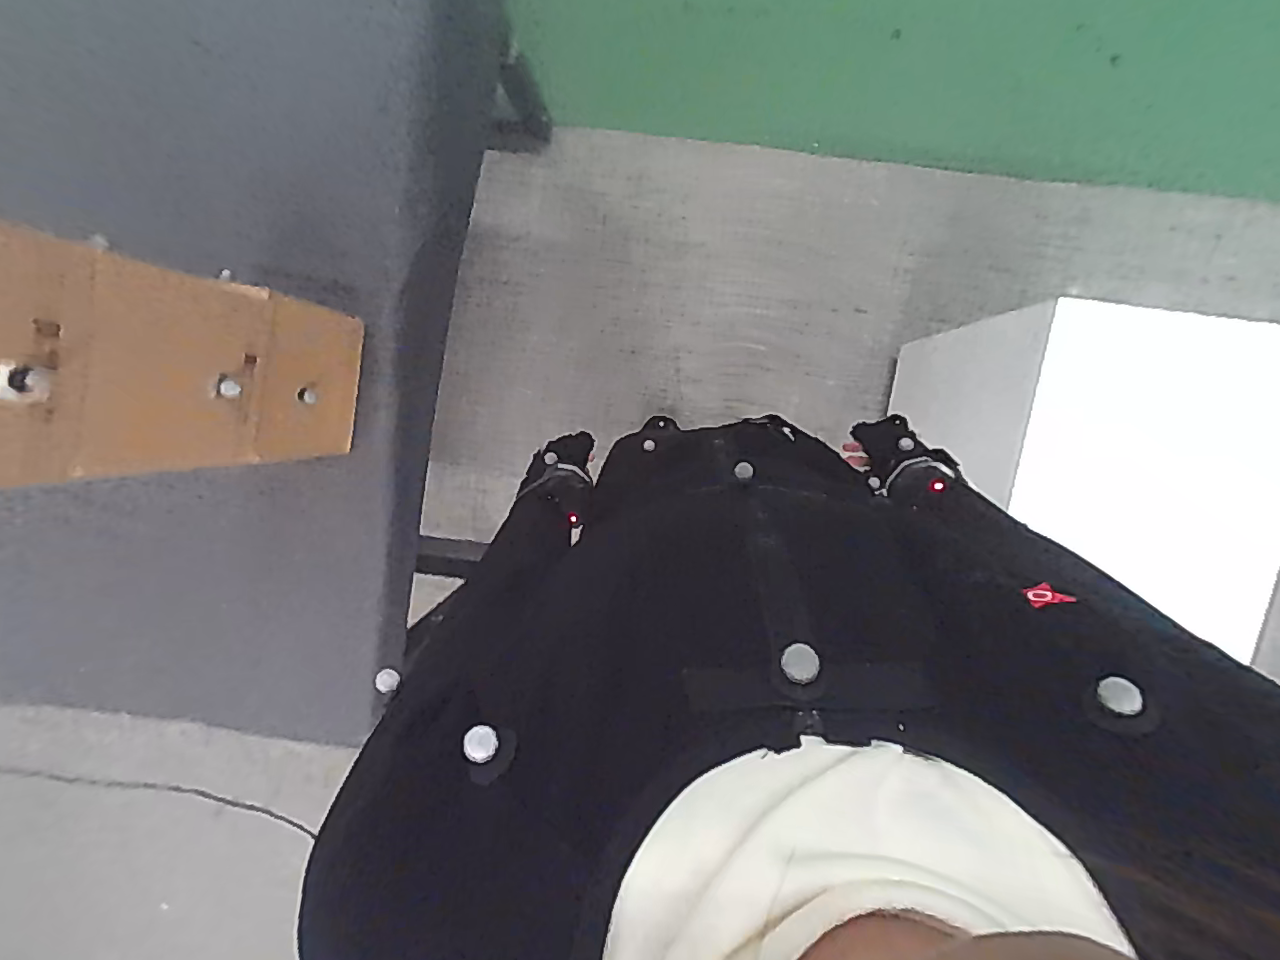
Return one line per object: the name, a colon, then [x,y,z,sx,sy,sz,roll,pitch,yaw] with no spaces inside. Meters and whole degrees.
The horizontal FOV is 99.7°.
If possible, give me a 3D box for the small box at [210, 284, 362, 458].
small box: [-0.455,-0.133,0.634,0.168,0.176,0.179,11,98,4]
